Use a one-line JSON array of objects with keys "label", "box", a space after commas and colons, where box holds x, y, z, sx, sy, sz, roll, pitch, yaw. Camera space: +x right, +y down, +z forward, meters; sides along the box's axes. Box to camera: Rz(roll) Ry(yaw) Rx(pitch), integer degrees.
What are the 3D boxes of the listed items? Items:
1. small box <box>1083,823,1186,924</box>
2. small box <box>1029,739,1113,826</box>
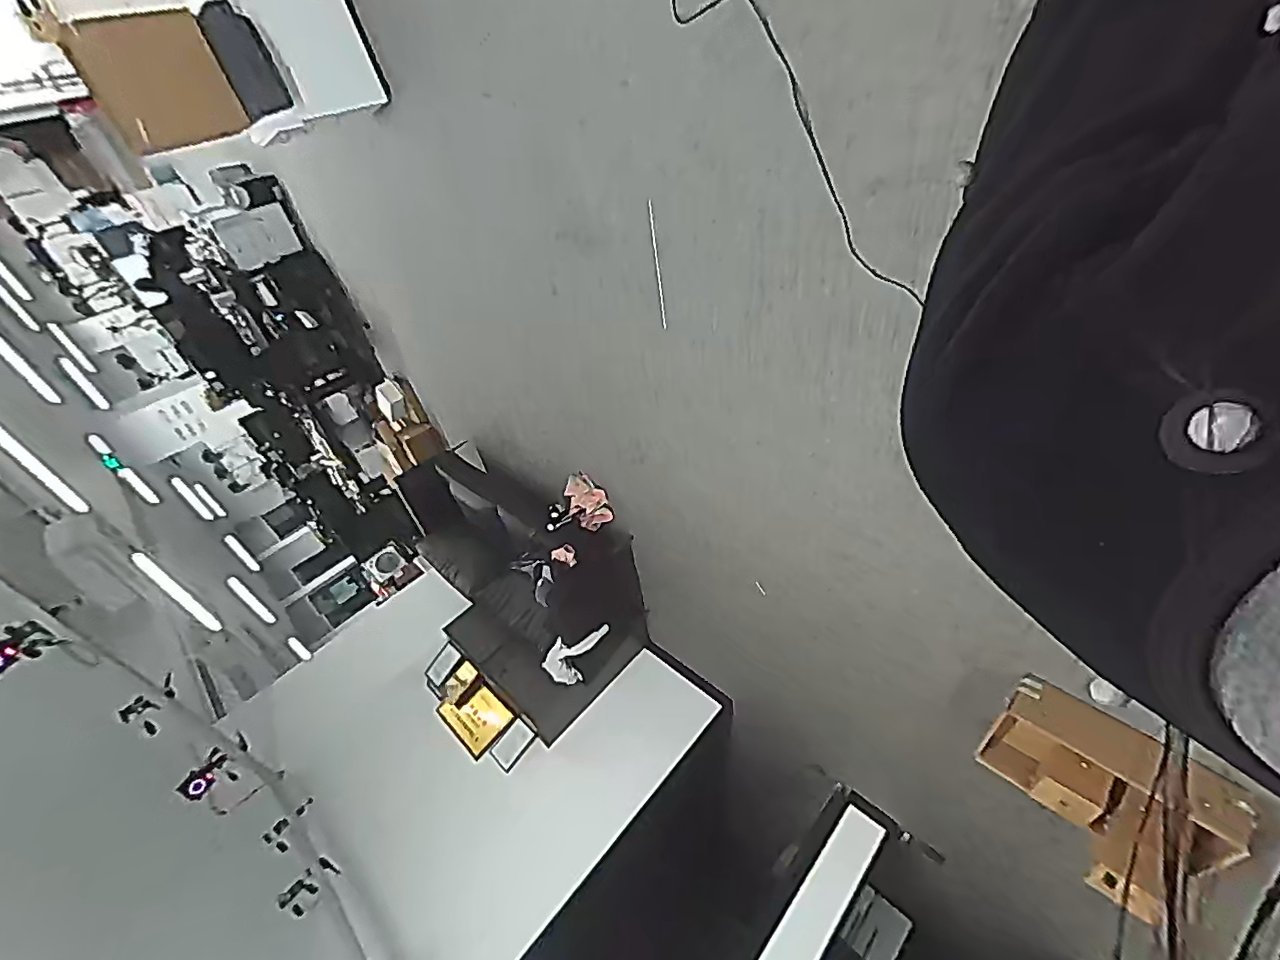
[{"label": "small box", "box": [1.524, 1.202, 1.669, 0.179, 0.176, 0.168, 26, 141, 38]}, {"label": "small box", "box": [1.495, 1.044, 1.873, 0.168, 0.176, 0.179, 28, 142, 34]}]
